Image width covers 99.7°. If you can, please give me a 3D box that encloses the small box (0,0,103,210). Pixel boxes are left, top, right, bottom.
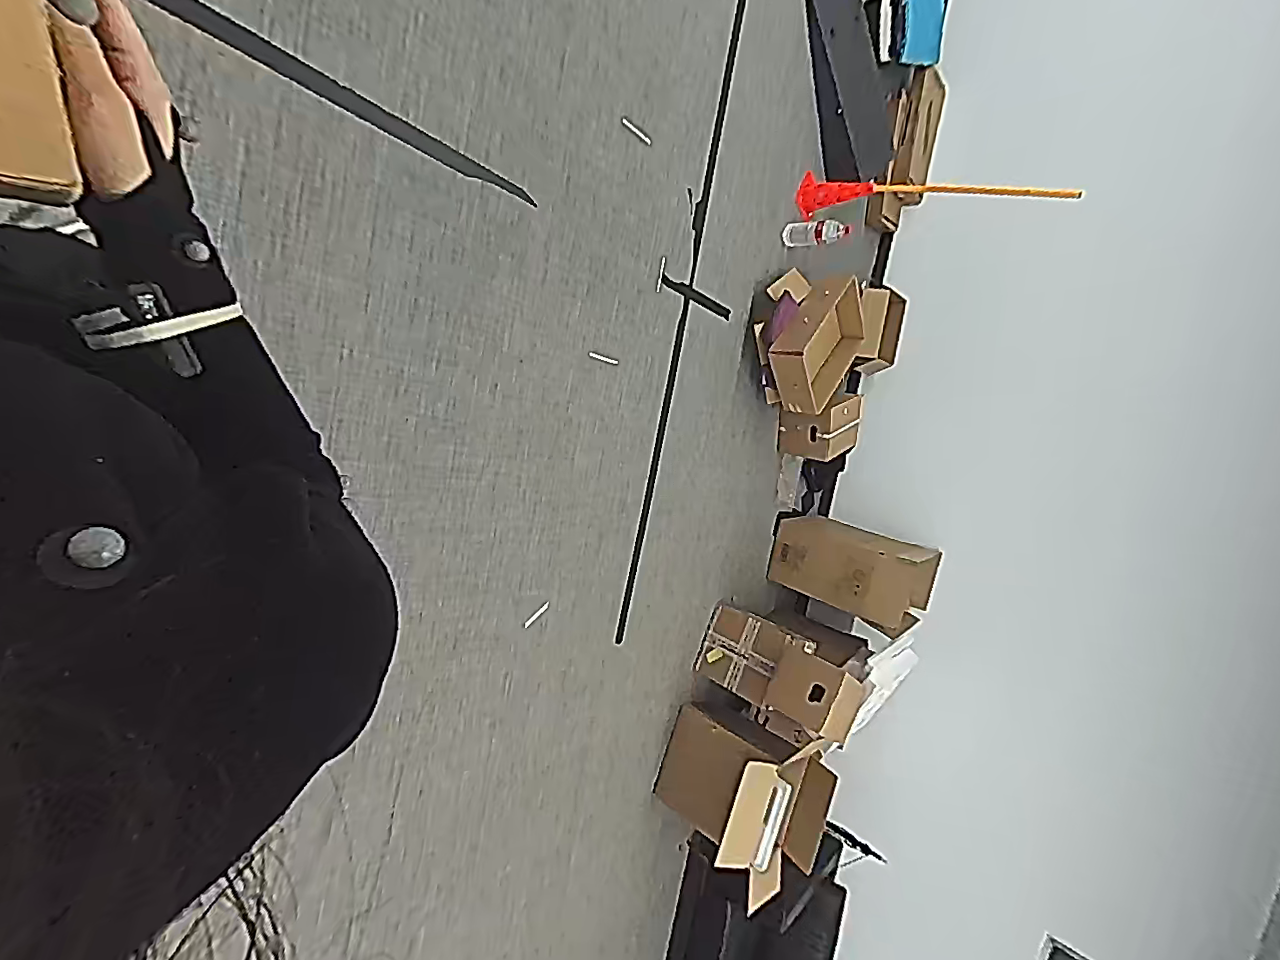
[{"bbox_3d":[-0.340,-0.215,0.206,0.168,0.176,0.179,-12,117,-45],"label":"small box"}]
